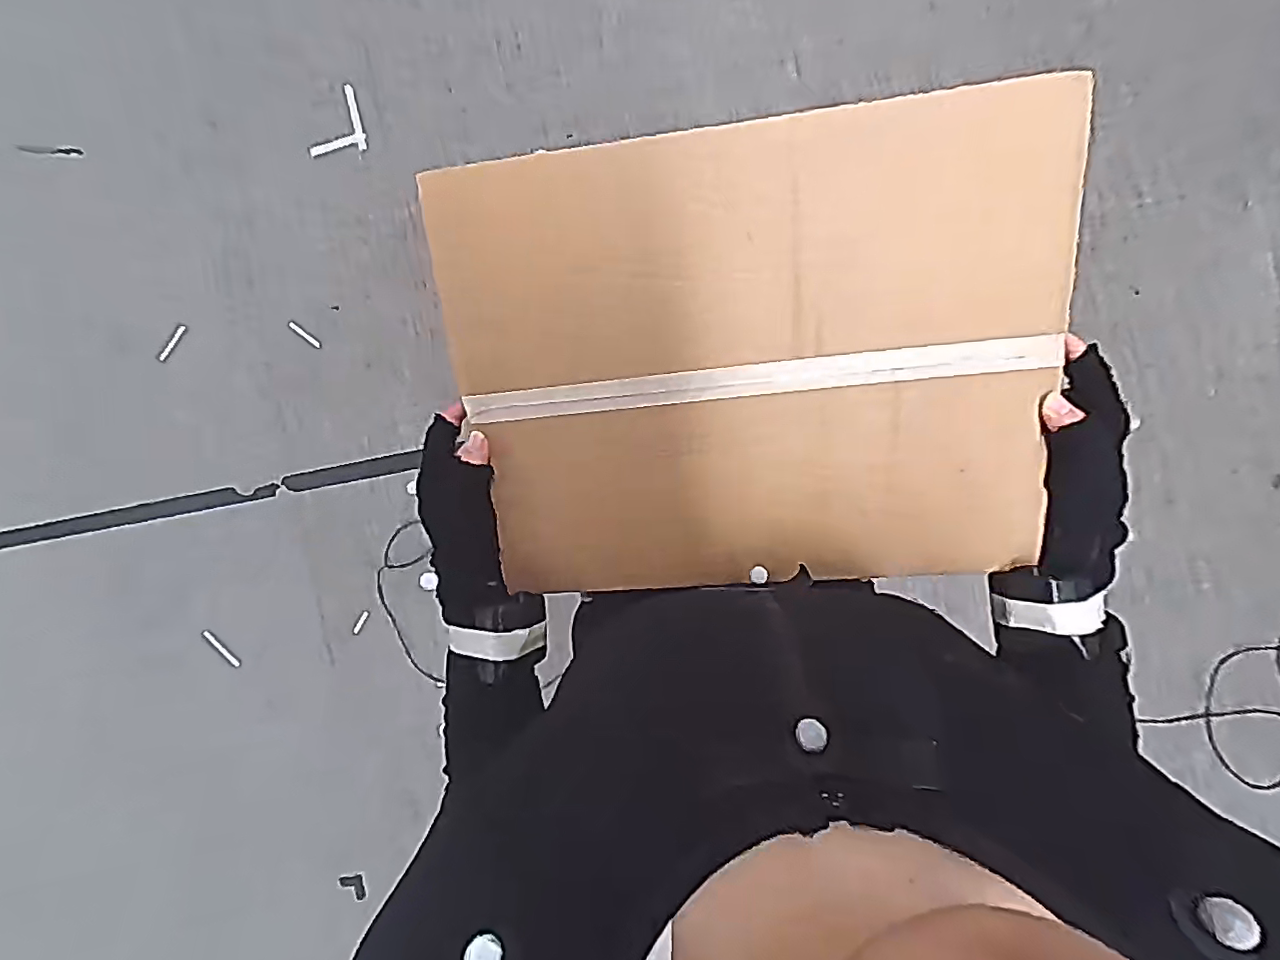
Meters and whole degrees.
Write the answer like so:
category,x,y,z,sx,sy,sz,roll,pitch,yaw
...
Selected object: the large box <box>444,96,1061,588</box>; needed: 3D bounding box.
category,x,y,z,sx,sy,sz,roll,pitch,yaw
large box,0.088,-0.114,0.533,0.408,0.320,0.320,-4,108,7
